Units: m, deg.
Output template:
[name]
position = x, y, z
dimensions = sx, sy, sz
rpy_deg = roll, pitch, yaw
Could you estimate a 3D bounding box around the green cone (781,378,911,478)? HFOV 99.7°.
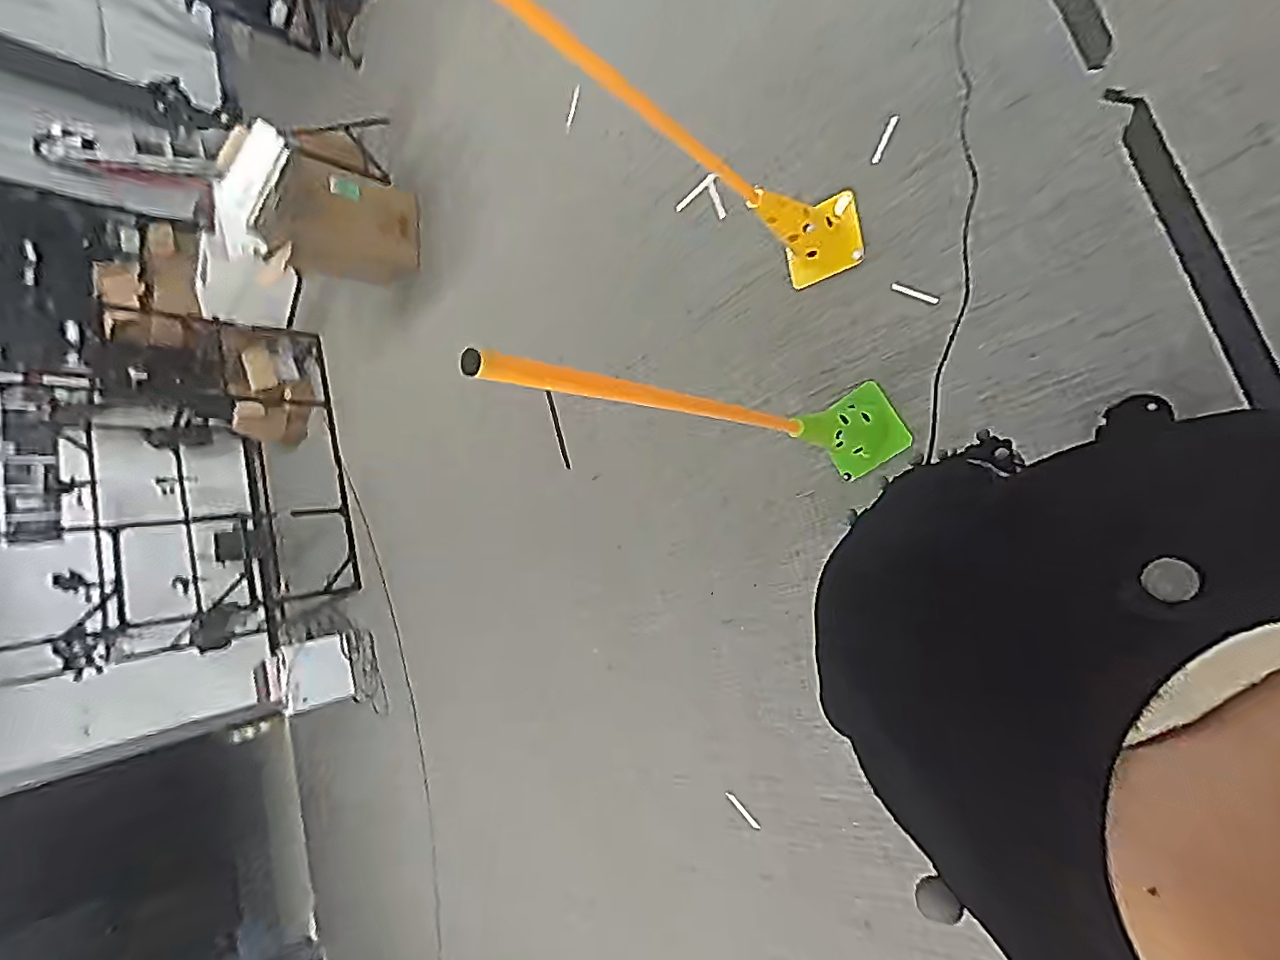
[green cone]
position = 0.441, -0.127, 1.259
dimensions = 0.200, 0.368, 0.202
rpy_deg = -41, 64, 37
